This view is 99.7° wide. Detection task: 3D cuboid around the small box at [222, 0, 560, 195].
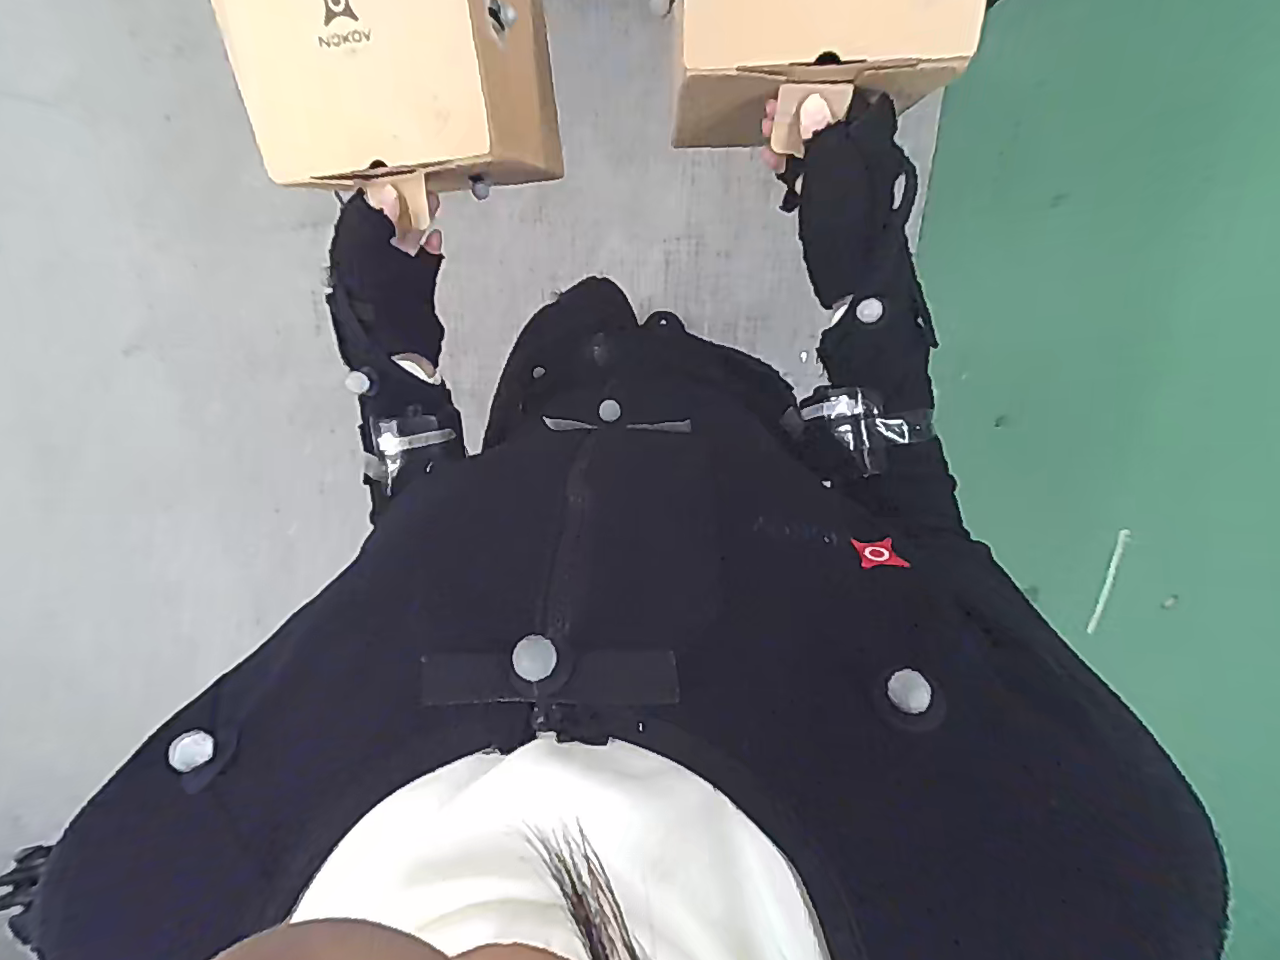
[{"bbox_3d":[-0.169,-0.321,0.407,0.168,0.176,0.179,-2,113,10],"label":"small box"}]
